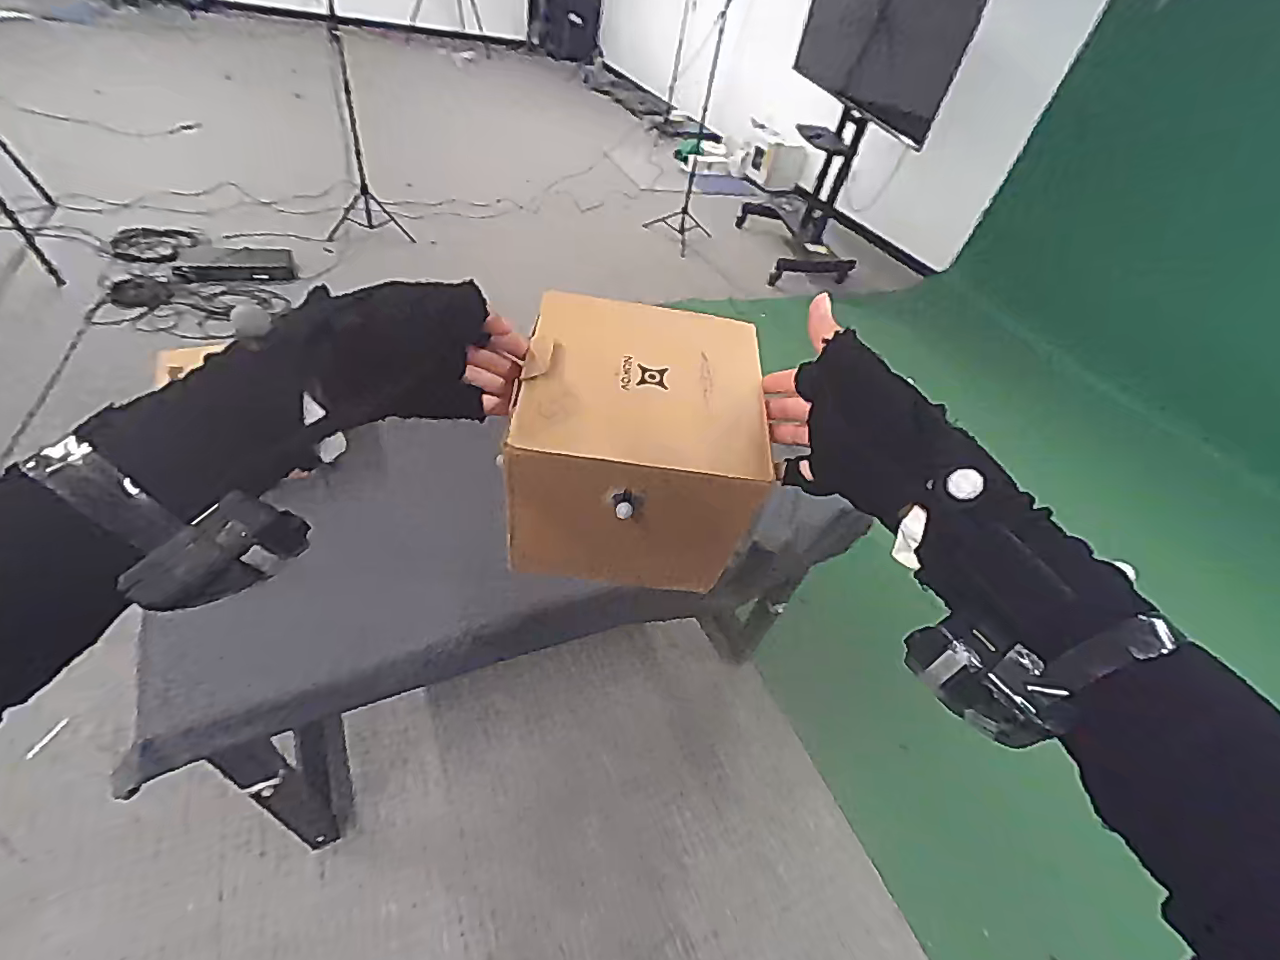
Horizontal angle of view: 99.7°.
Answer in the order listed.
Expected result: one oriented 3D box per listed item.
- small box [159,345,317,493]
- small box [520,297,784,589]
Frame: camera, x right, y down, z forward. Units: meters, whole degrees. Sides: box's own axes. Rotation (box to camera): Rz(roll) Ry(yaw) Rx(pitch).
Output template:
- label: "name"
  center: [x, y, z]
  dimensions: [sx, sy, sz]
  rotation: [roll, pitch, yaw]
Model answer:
- label: "small box"
  center: [-0.653, -0.102, 0.899]
  dimensions: [0.179, 0.176, 0.168]
  rotation: [-13, 51, -26]
- label: "small box"
  center: [0.001, -0.023, 0.456]
  dimensions: [0.179, 0.176, 0.168]
  rotation: [9, 53, -7]
